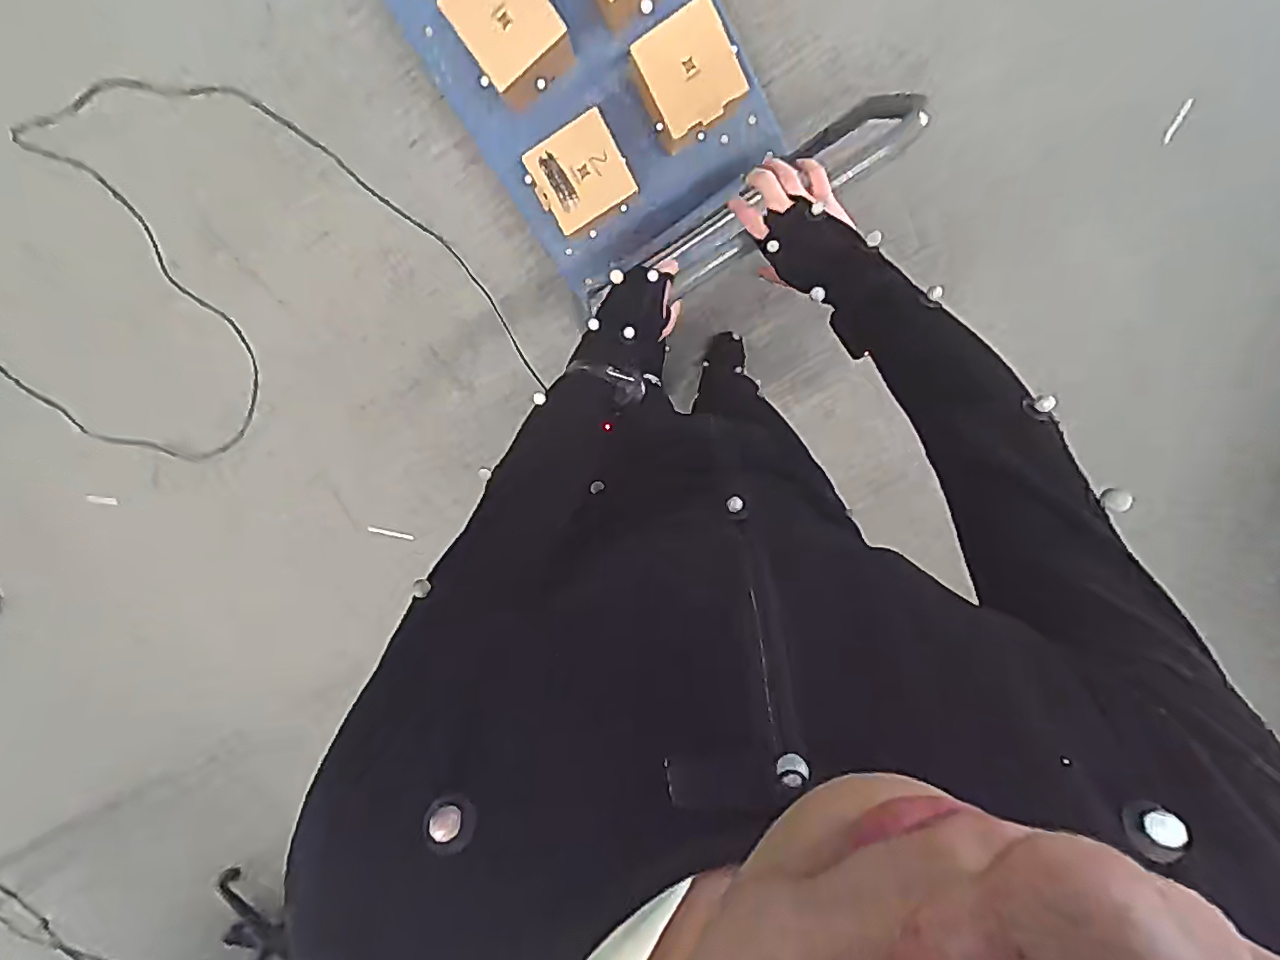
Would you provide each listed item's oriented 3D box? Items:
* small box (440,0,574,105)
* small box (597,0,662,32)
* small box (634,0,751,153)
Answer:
[{"bbox_3d":[-0.244,-0.865,1.044,0.168,0.176,0.179,-34,108,11],"label":"small box"},{"bbox_3d":[-0.029,-0.992,0.997,0.168,0.176,0.179,-32,109,12],"label":"small box"},{"bbox_3d":[0.097,-0.794,1.079,0.168,0.176,0.179,-29,109,10],"label":"small box"}]
